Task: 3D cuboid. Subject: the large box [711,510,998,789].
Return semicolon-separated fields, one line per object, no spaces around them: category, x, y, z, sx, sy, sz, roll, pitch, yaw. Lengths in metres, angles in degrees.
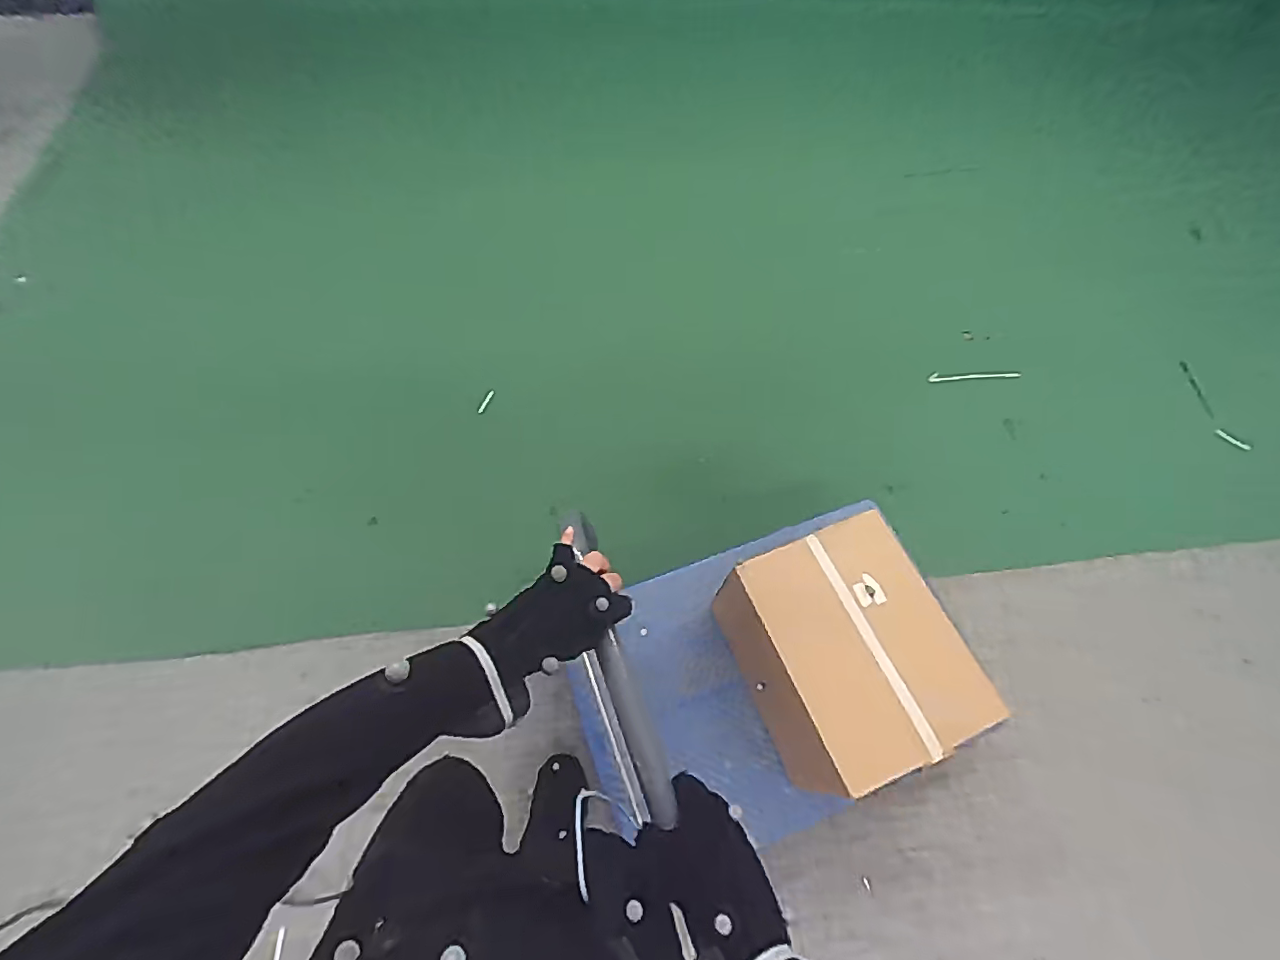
large box;0.381;0.339;1.085;0.320;0.320;0.408;-19;65;-12
